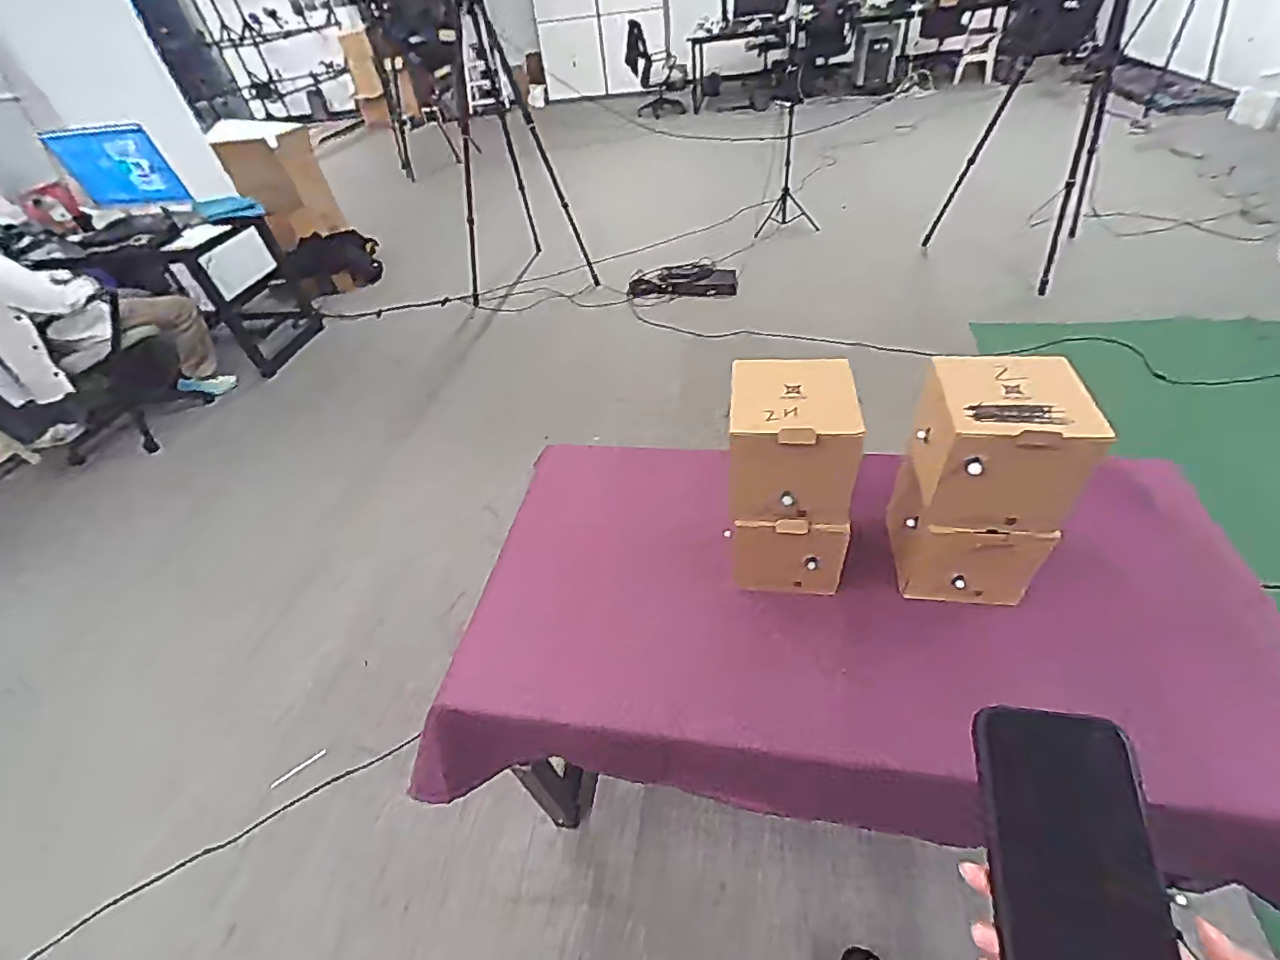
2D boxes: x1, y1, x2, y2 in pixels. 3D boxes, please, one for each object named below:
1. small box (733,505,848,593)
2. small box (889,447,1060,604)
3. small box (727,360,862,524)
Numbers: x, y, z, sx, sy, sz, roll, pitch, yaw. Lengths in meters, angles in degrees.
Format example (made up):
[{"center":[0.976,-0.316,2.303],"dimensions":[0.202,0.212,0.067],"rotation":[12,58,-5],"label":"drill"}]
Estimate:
[{"center":[0.241,0.068,0.893],"dimensions":[0.168,0.176,0.179],"rotation":[2,44,11],"label":"small box"},{"center":[0.502,0.069,0.847],"dimensions":[0.168,0.176,0.179],"rotation":[1,45,11],"label":"small box"},{"center":[0.214,-0.057,0.789],"dimensions":[0.168,0.176,0.179],"rotation":[1,45,11],"label":"small box"}]
